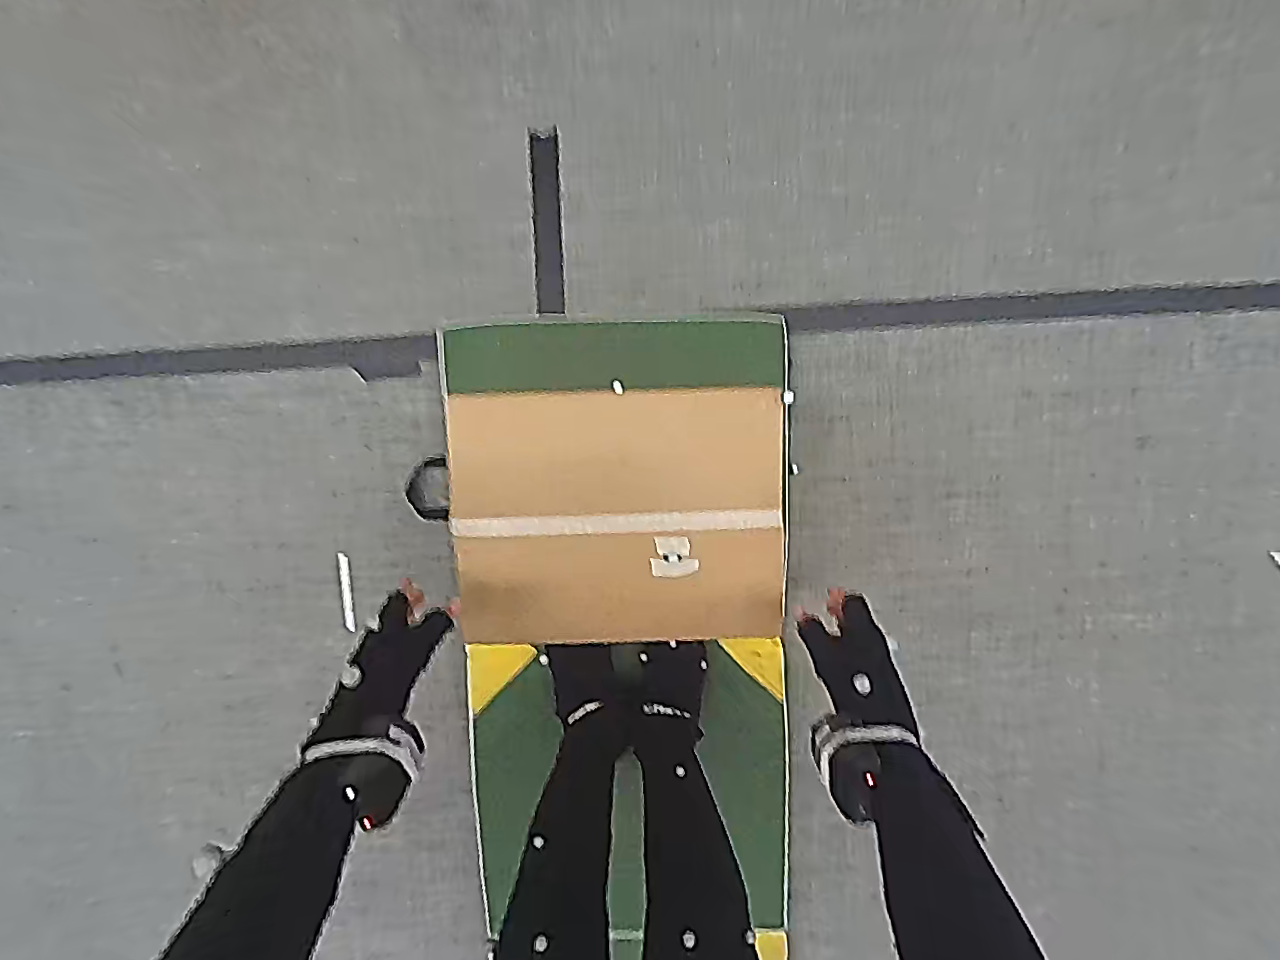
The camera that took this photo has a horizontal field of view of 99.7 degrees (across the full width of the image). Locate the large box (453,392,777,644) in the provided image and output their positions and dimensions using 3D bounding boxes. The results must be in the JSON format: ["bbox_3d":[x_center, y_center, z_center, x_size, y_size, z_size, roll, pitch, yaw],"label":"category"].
[{"bbox_3d":[-0.031,0.036,0.828,0.408,0.320,0.320,-2,97,-1],"label":"large box"}]
